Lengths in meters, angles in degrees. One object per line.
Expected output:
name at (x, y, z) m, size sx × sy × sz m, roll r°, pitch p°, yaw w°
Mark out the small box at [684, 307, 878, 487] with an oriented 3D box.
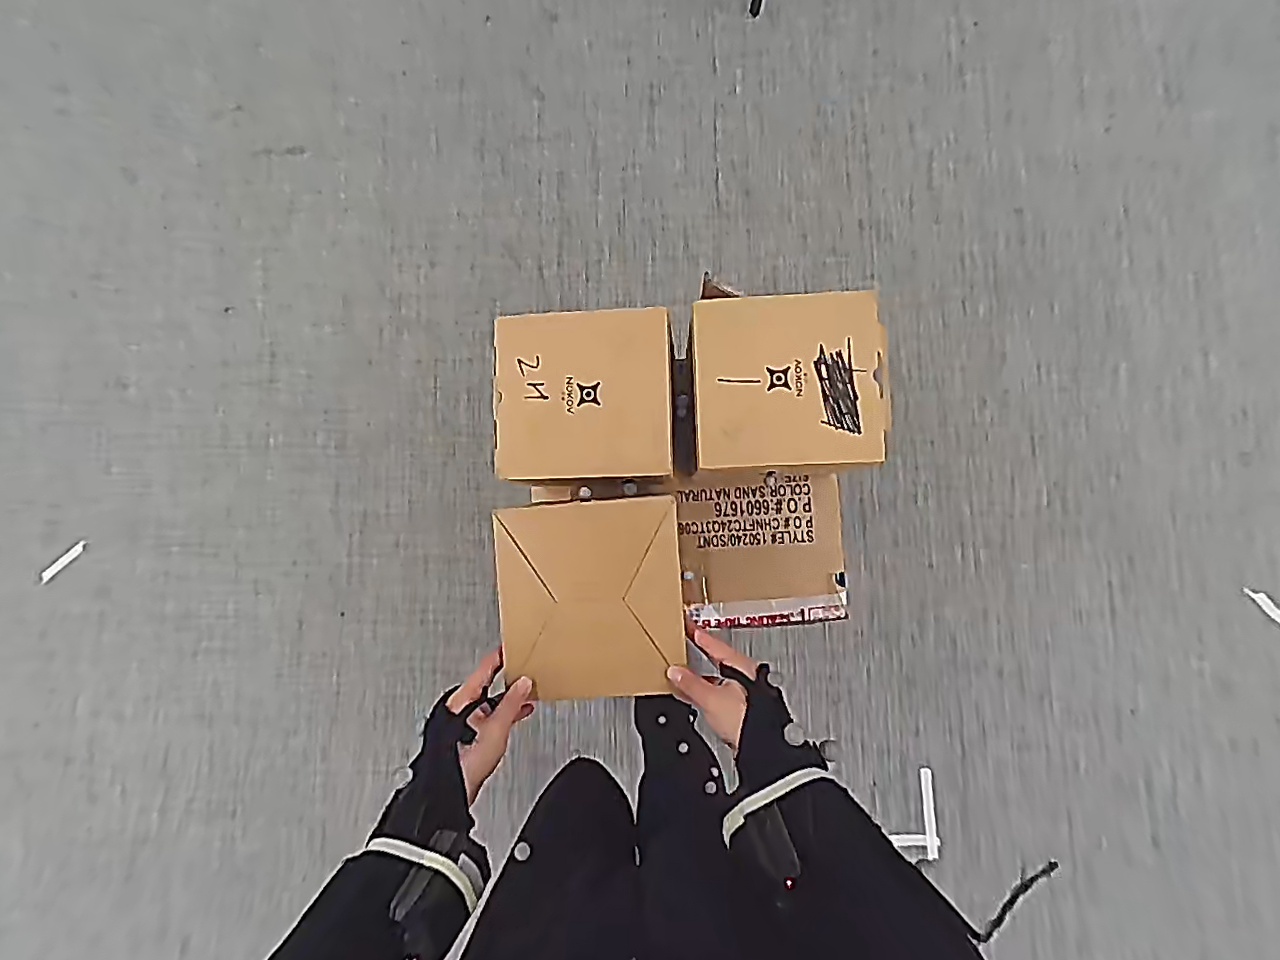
small box at (0.141, -0.080, 0.600) m, size 0.179 × 0.176 × 0.168 m, roll -2°, pitch 86°, yaw 3°
